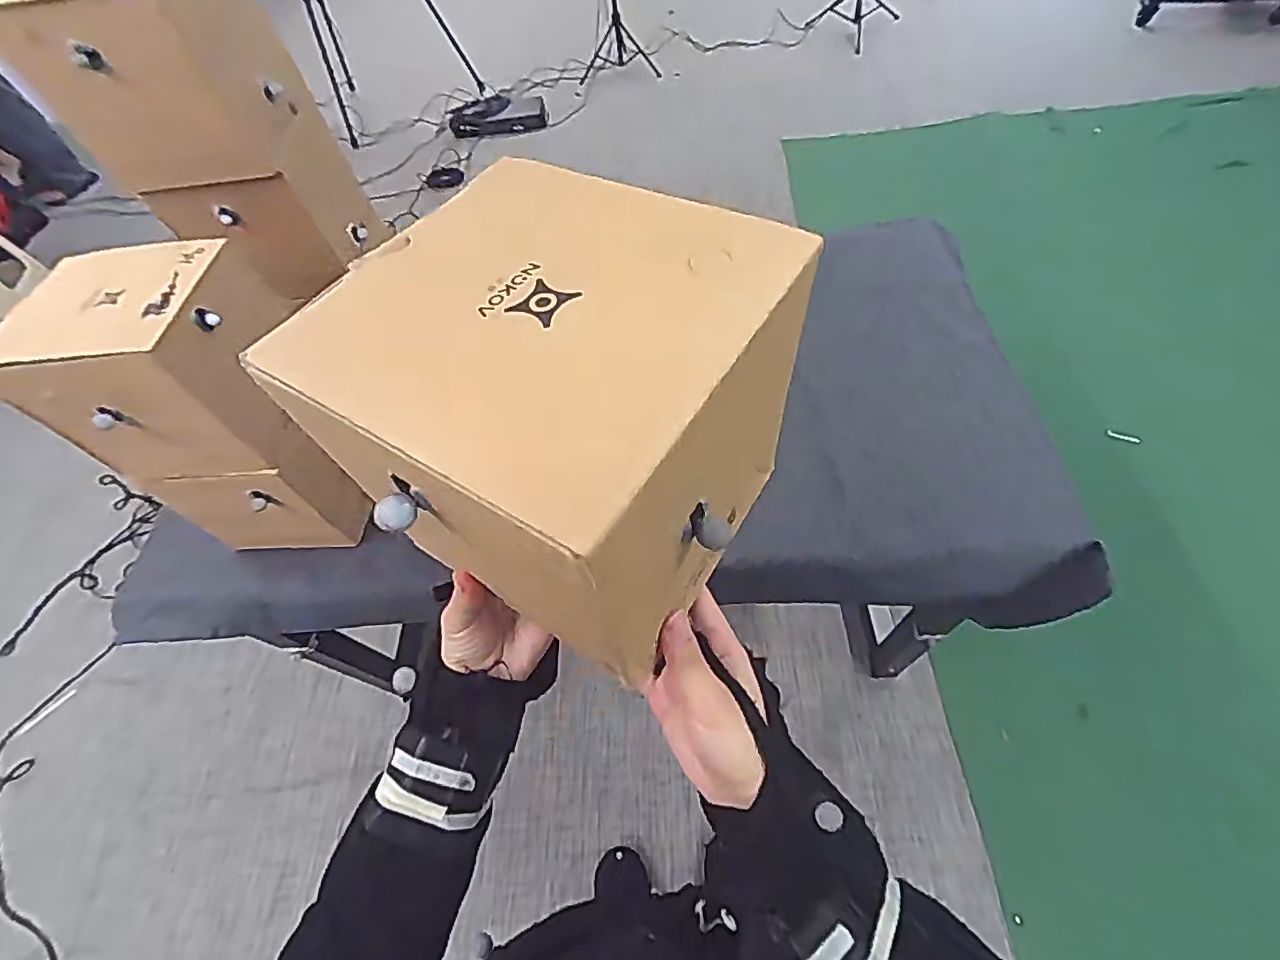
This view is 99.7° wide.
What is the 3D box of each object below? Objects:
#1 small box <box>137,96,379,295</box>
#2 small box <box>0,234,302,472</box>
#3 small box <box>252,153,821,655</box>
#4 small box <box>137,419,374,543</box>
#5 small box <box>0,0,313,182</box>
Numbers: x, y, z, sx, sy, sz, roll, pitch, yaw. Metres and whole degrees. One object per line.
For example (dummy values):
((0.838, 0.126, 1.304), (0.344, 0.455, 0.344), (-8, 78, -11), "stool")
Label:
((-0.481, -0.365, 0.714), (0.179, 0.176, 0.168), (-6, 60, 1), "small box")
((-0.476, -0.121, 0.559), (0.179, 0.176, 0.168), (-6, 56, 4), "small box")
((-0.032, -0.030, 0.283), (0.179, 0.176, 0.168), (25, 64, 22), "small box")
((-0.455, -0.029, 0.692), (0.179, 0.176, 0.168), (-2, 56, 6), "small box")
((-0.493, -0.440, 0.568), (0.179, 0.176, 0.168), (-5, 60, 3), "small box")
